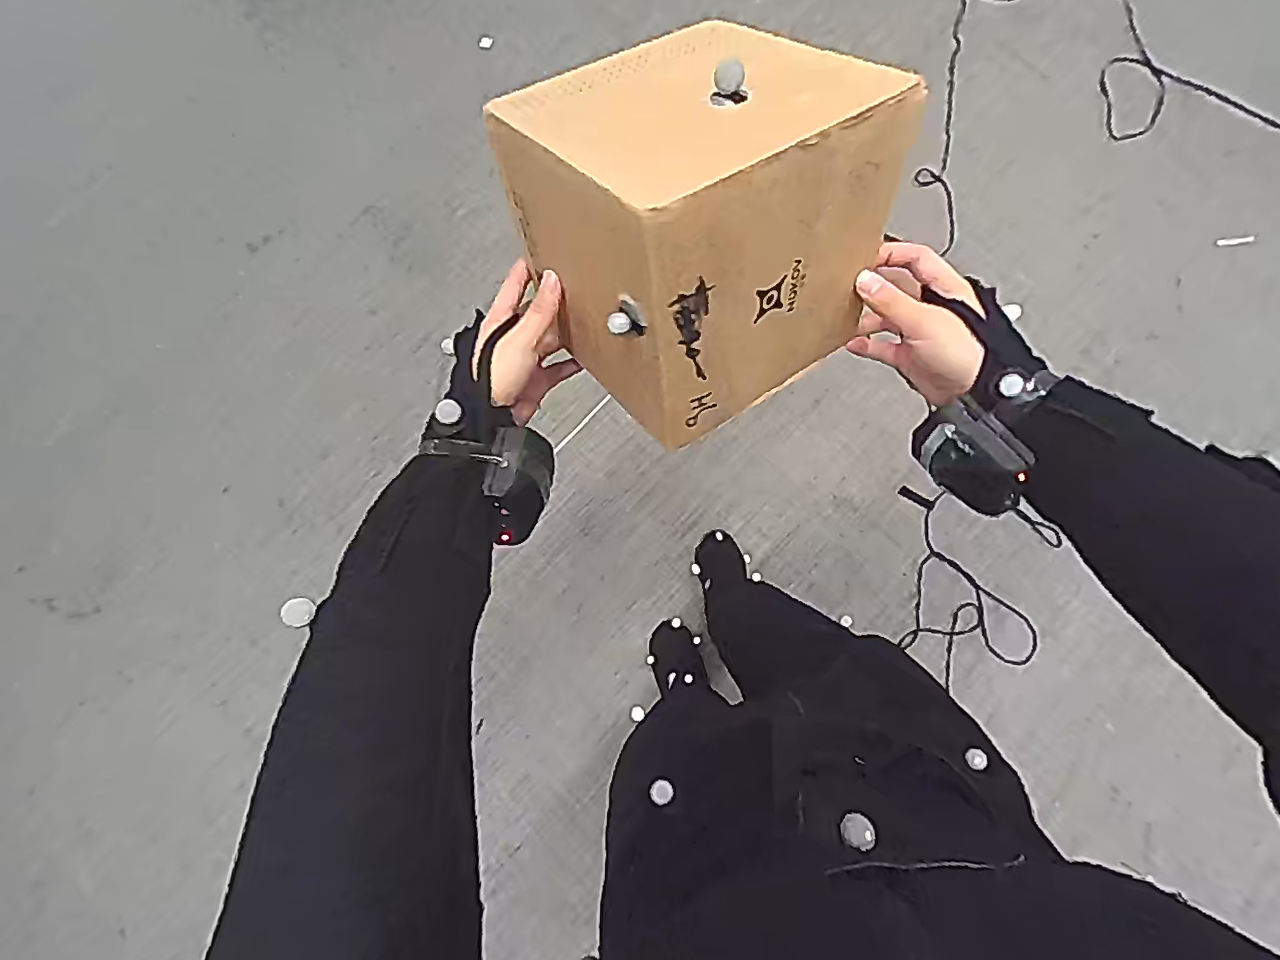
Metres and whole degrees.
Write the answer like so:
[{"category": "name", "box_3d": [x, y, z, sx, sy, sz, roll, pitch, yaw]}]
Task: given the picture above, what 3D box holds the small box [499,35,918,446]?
[{"category": "small box", "box_3d": [0.036, -0.163, 0.362, 0.179, 0.168, 0.176, -31, 56, -15]}]
